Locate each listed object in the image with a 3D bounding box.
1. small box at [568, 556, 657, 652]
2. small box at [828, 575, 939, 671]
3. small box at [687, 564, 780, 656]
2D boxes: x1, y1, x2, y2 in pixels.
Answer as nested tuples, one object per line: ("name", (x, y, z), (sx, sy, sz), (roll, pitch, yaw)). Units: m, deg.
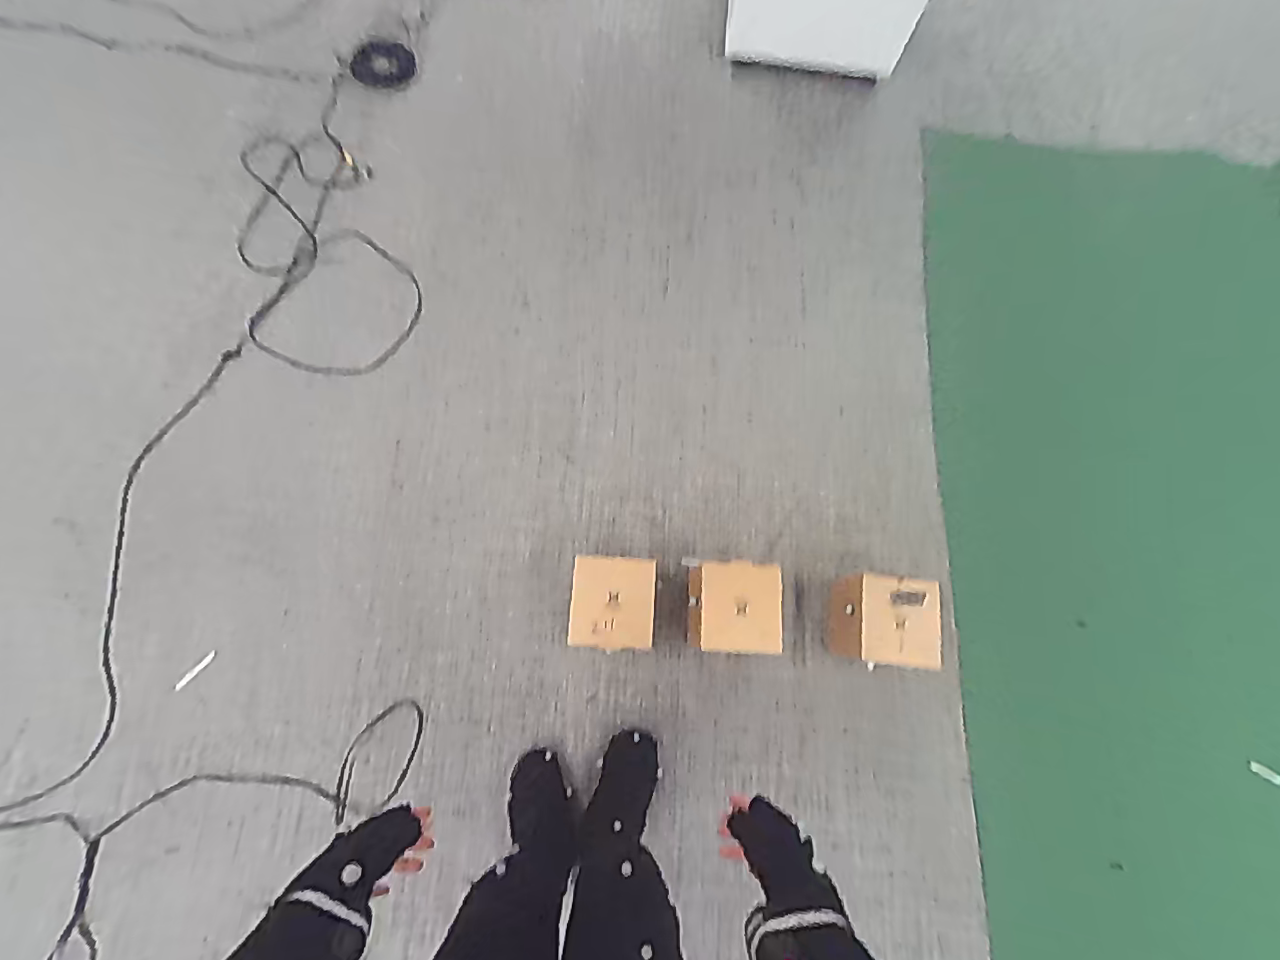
("small box", (-0.059, 0.266, 1.145), (0.168, 0.176, 0.179), (4, 74, -2))
("small box", (0.520, 0.311, 1.176), (0.168, 0.176, 0.179), (7, 75, -2))
("small box", (0.195, 0.281, 1.163), (0.168, 0.176, 0.179), (4, 74, -3))
